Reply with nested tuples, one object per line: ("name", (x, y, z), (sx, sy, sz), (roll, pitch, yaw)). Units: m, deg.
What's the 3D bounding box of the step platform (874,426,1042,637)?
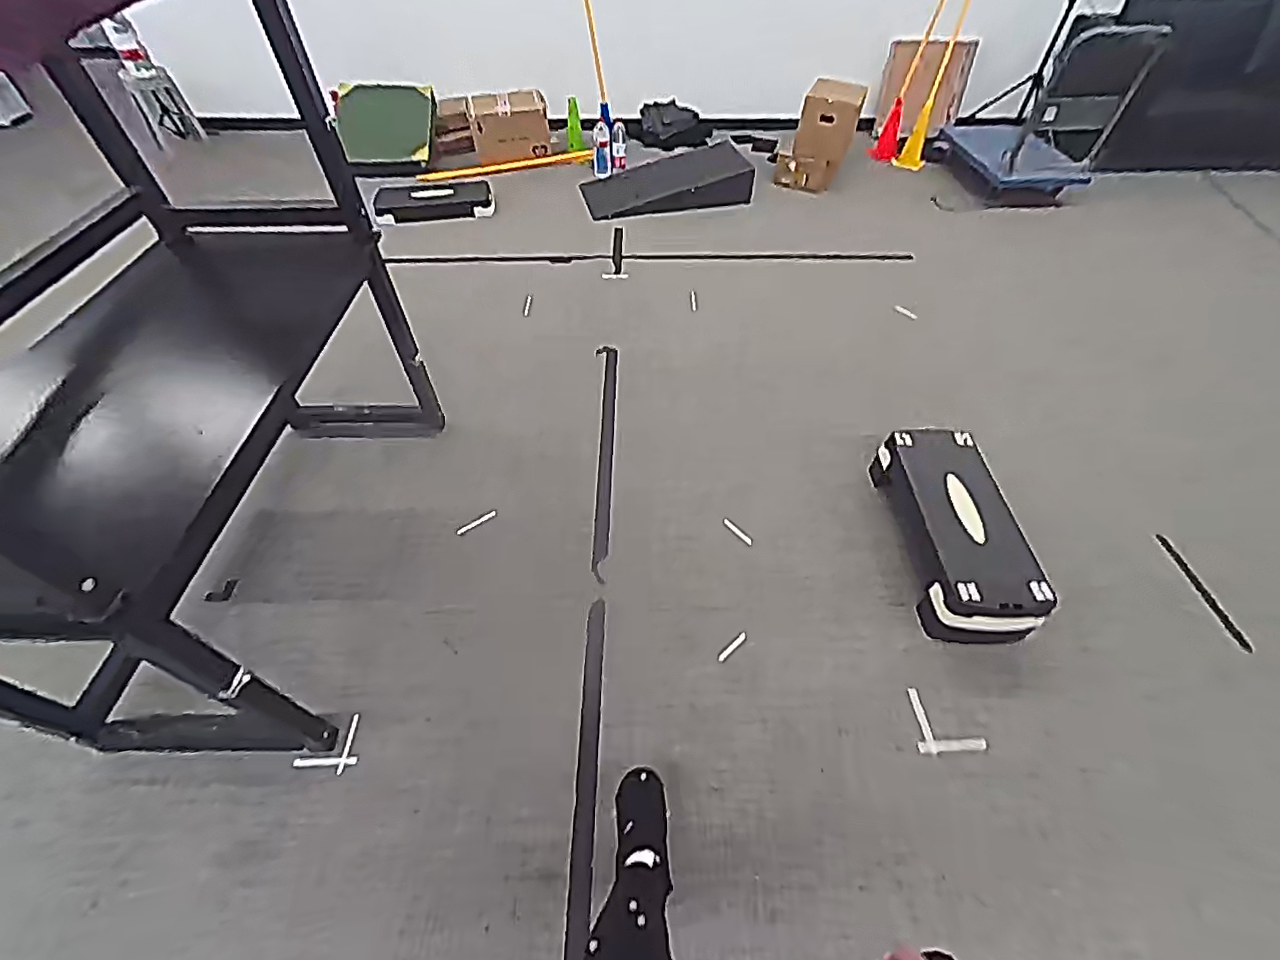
("step platform", (0.954, 0.123, 1.682), (0.286, 0.204, 0.684), (4, 49, 3))
